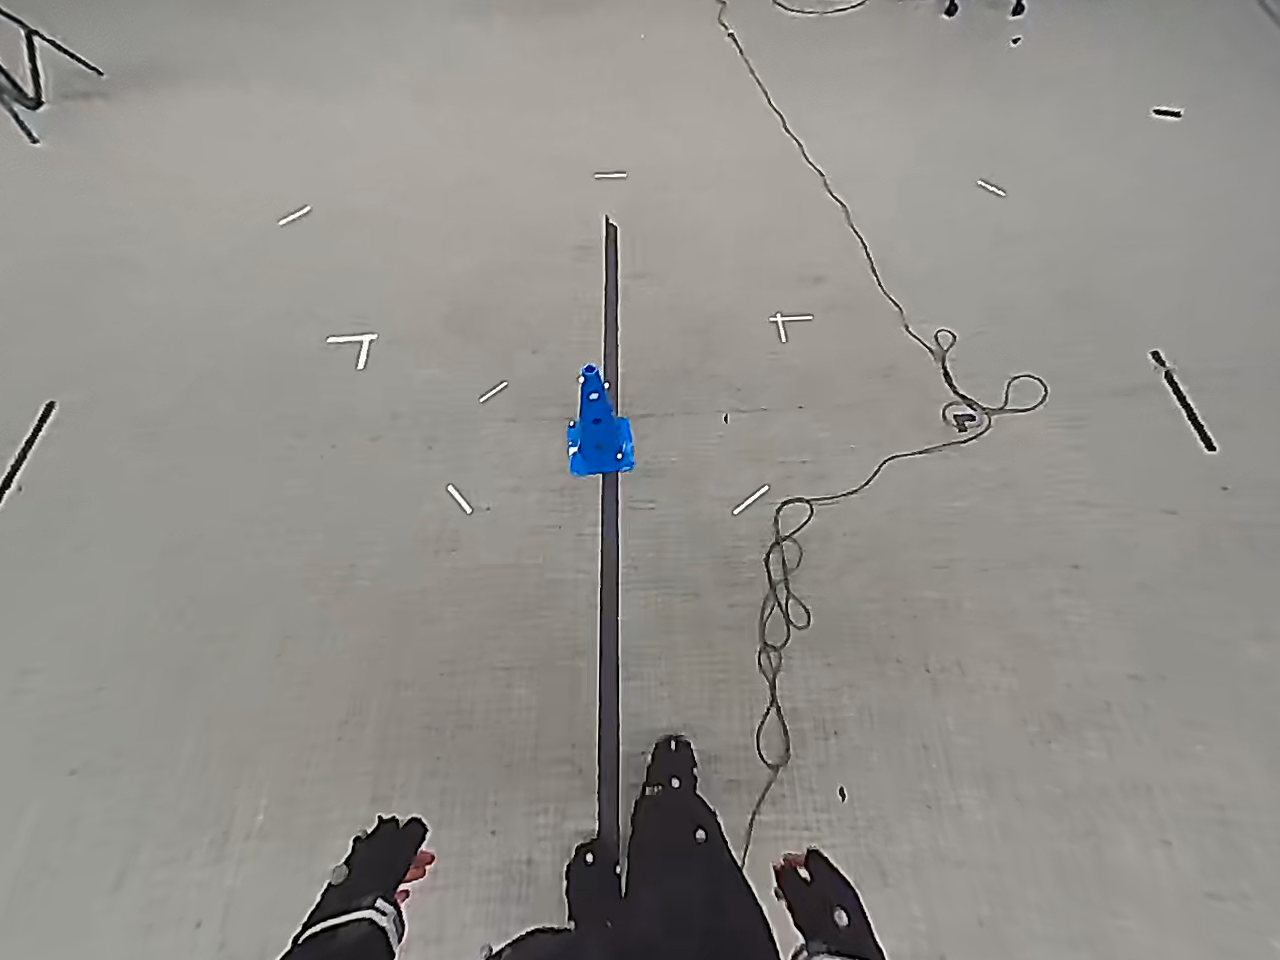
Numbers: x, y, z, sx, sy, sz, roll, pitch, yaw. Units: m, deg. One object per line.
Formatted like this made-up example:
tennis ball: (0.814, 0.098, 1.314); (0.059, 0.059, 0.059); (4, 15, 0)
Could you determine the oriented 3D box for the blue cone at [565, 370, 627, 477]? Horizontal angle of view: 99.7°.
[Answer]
blue cone: (-0.142, -0.180, 1.539); (0.192, 0.380, 0.193); (-5, 60, -1)
